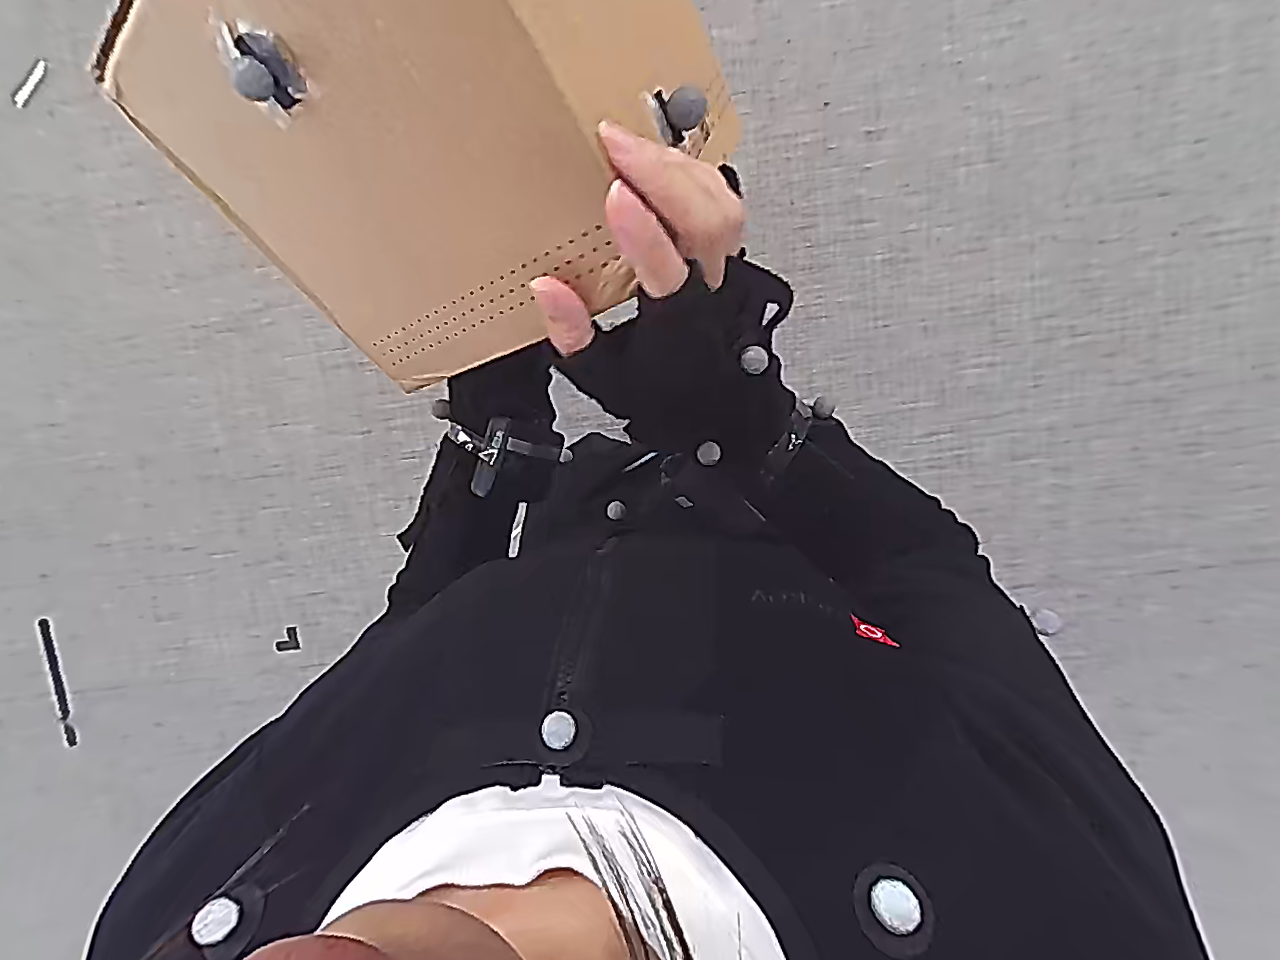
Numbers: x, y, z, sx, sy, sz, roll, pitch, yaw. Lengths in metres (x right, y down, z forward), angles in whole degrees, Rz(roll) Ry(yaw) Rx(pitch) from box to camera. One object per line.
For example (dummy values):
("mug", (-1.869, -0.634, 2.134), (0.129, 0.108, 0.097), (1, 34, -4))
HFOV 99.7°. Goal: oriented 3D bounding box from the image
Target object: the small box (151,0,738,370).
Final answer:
("small box", (-0.075, -0.180, 0.274), (0.179, 0.168, 0.176), (-9, 134, 36))
